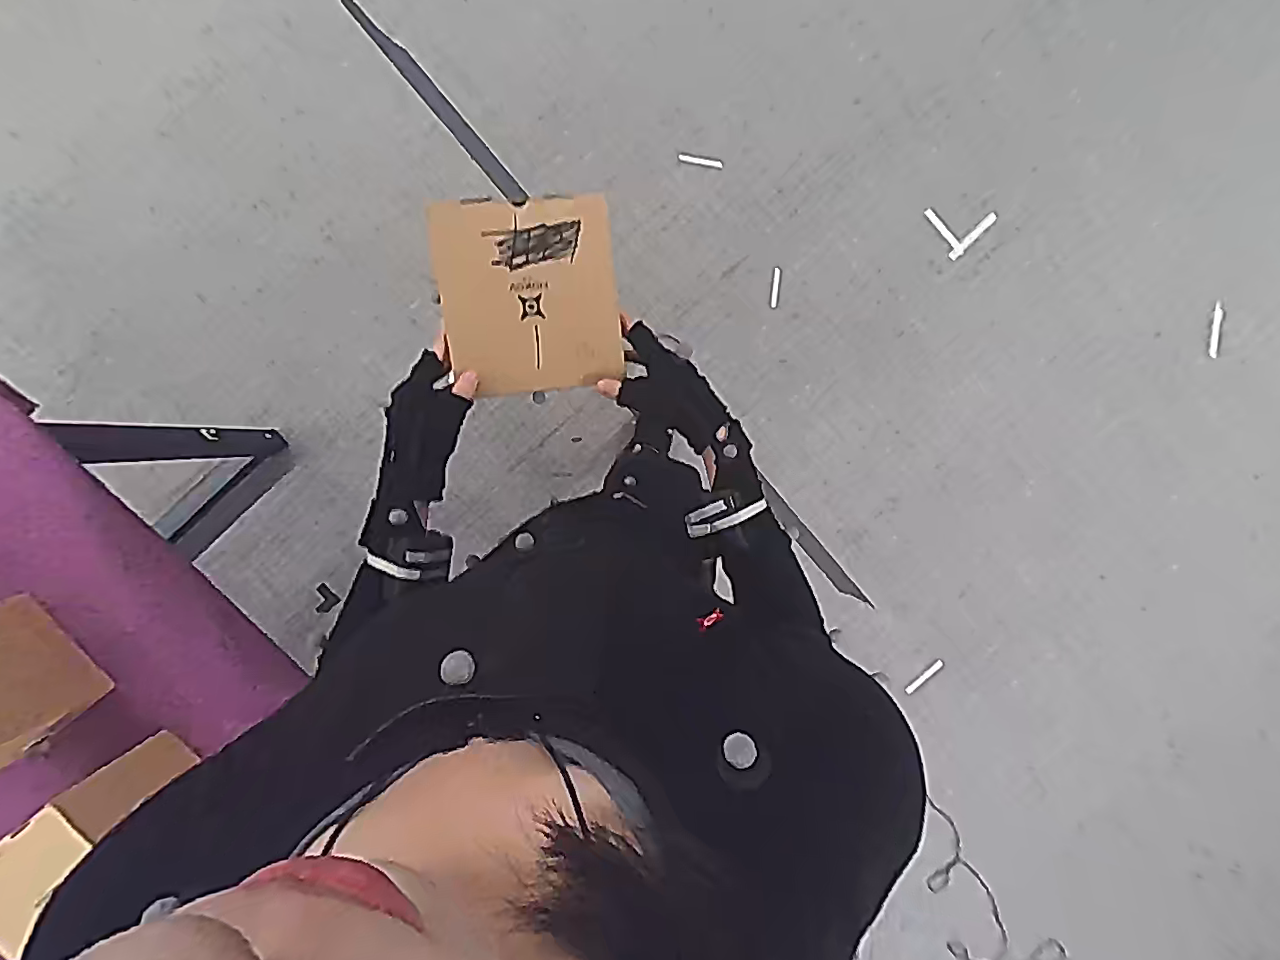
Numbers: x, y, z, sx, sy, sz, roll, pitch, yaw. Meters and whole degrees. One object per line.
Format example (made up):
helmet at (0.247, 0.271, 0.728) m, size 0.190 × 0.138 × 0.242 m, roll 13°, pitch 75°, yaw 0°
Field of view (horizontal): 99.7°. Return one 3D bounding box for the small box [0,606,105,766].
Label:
small box at (-0.851, 0.278, 0.667) m, size 0.168 × 0.176 × 0.179 m, roll -38°, pitch 97°, yaw 1°

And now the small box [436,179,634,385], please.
small box at (-0.106, -0.194, 0.572) m, size 0.168 × 0.176 × 0.179 m, roll -7°, pitch 102°, yaw -8°

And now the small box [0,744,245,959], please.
small box at (-0.673, 0.473, 0.689) m, size 0.168 × 0.176 × 0.179 m, roll -42°, pitch 94°, yaw 1°
